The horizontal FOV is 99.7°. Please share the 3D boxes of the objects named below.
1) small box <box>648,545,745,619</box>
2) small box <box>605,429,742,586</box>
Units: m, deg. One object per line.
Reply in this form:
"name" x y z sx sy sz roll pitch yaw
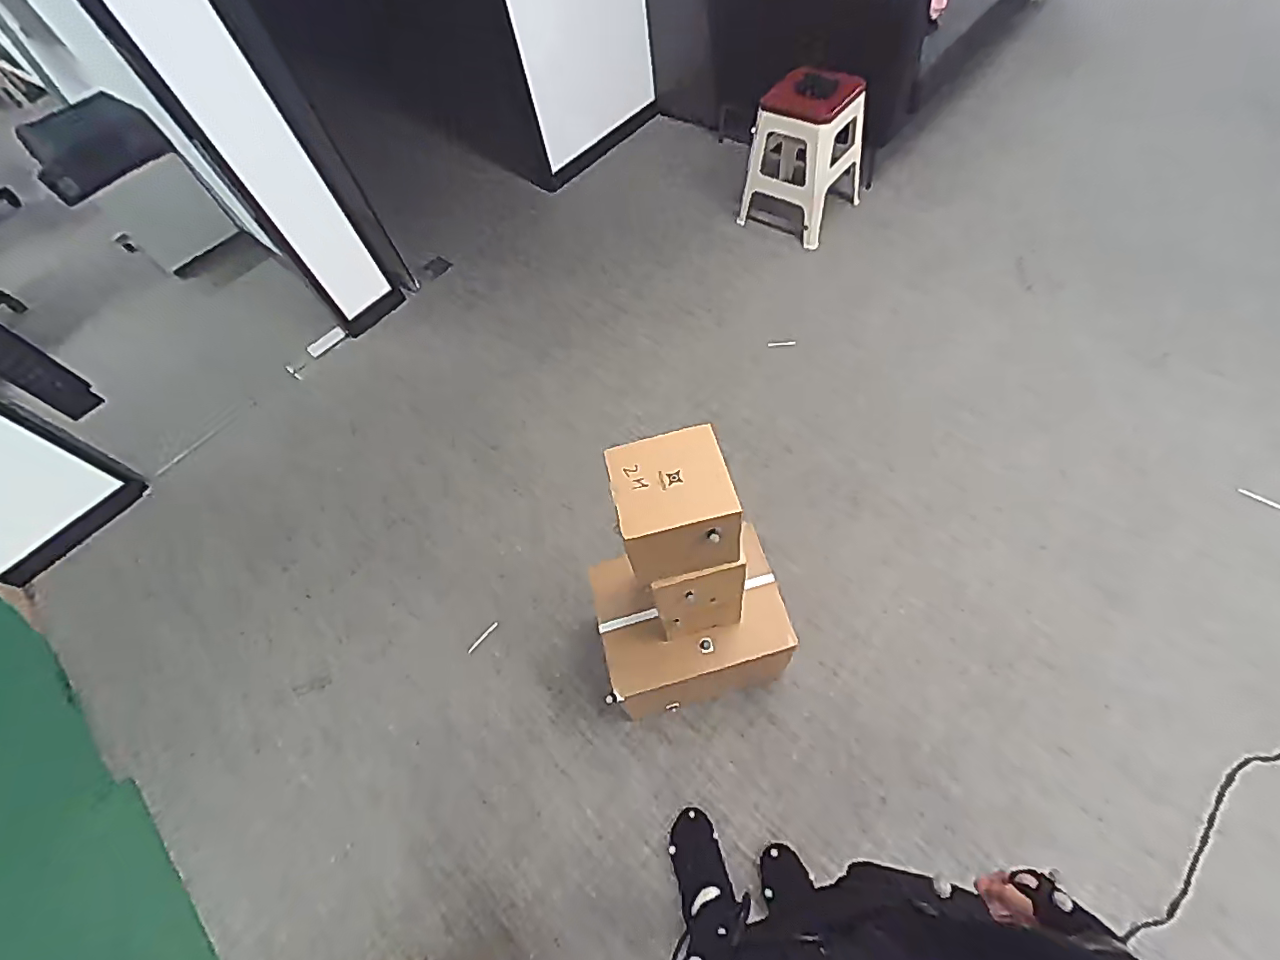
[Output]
"small box" 0.088 0.140 0.994 0.168 0.176 0.179 -16 55 -1
"small box" 0.053 0.049 0.860 0.179 0.176 0.168 -14 55 0
